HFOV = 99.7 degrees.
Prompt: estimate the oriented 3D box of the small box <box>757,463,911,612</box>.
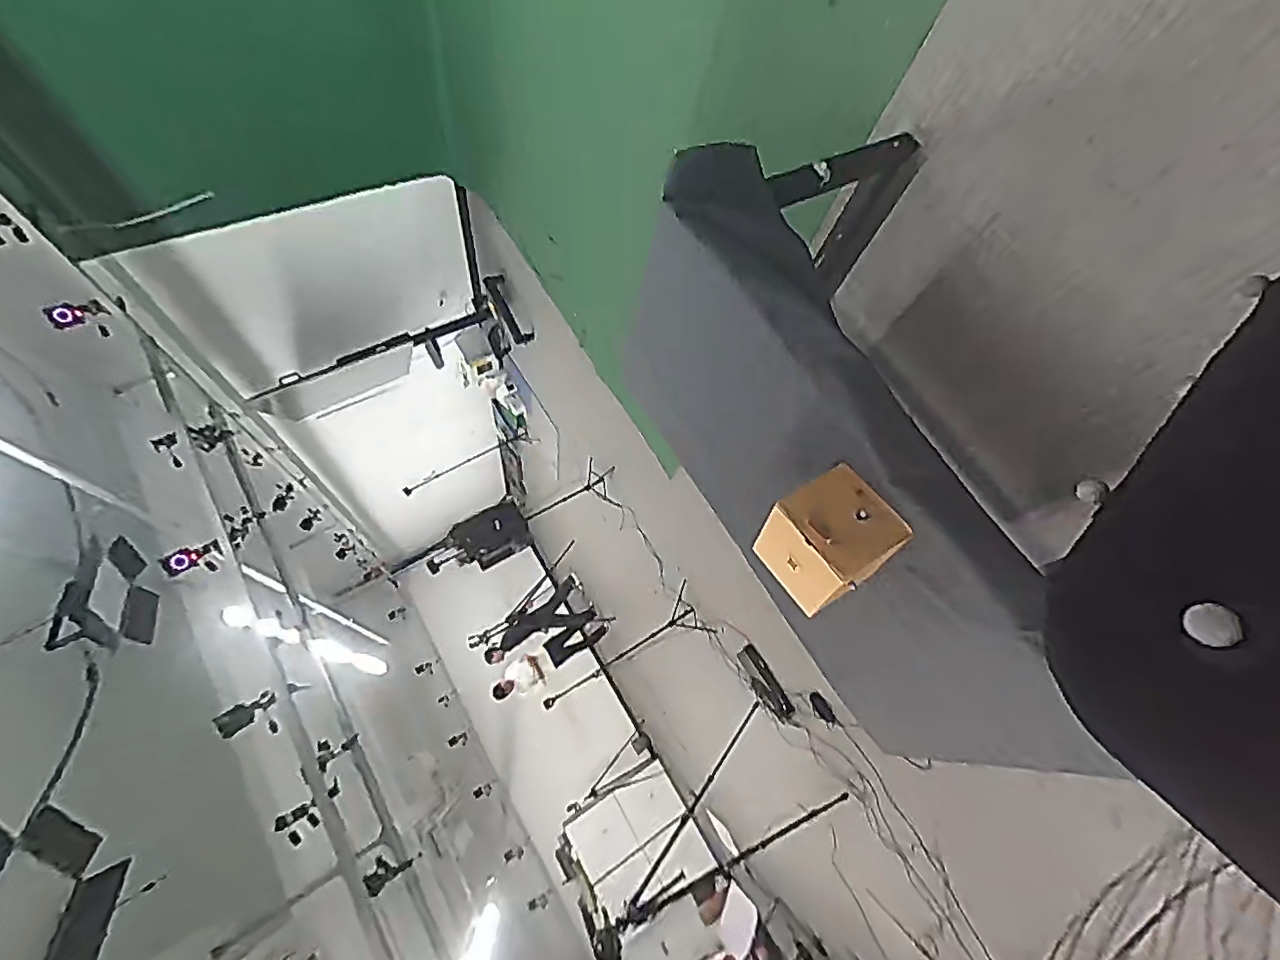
[{"bbox_3d":[0.342,0.102,0.967,0.168,0.176,0.179,53,158,26],"label":"small box"}]
